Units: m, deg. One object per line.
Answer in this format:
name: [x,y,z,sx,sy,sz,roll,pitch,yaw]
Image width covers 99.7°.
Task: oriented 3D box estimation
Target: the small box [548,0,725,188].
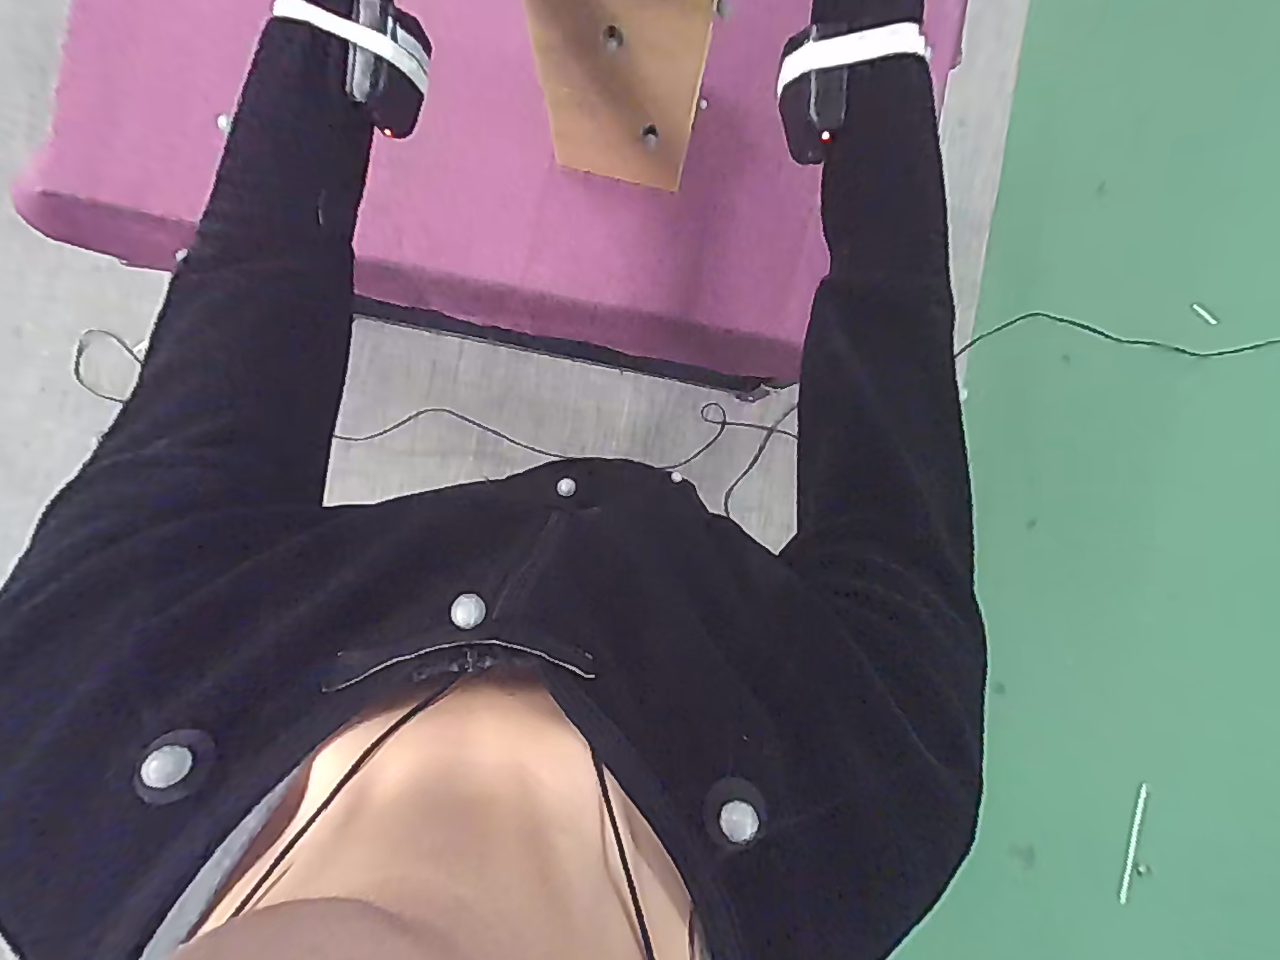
small box: [-0.007,-0.505,0.690,0.179,0.176,0.168,12,91,-3]
